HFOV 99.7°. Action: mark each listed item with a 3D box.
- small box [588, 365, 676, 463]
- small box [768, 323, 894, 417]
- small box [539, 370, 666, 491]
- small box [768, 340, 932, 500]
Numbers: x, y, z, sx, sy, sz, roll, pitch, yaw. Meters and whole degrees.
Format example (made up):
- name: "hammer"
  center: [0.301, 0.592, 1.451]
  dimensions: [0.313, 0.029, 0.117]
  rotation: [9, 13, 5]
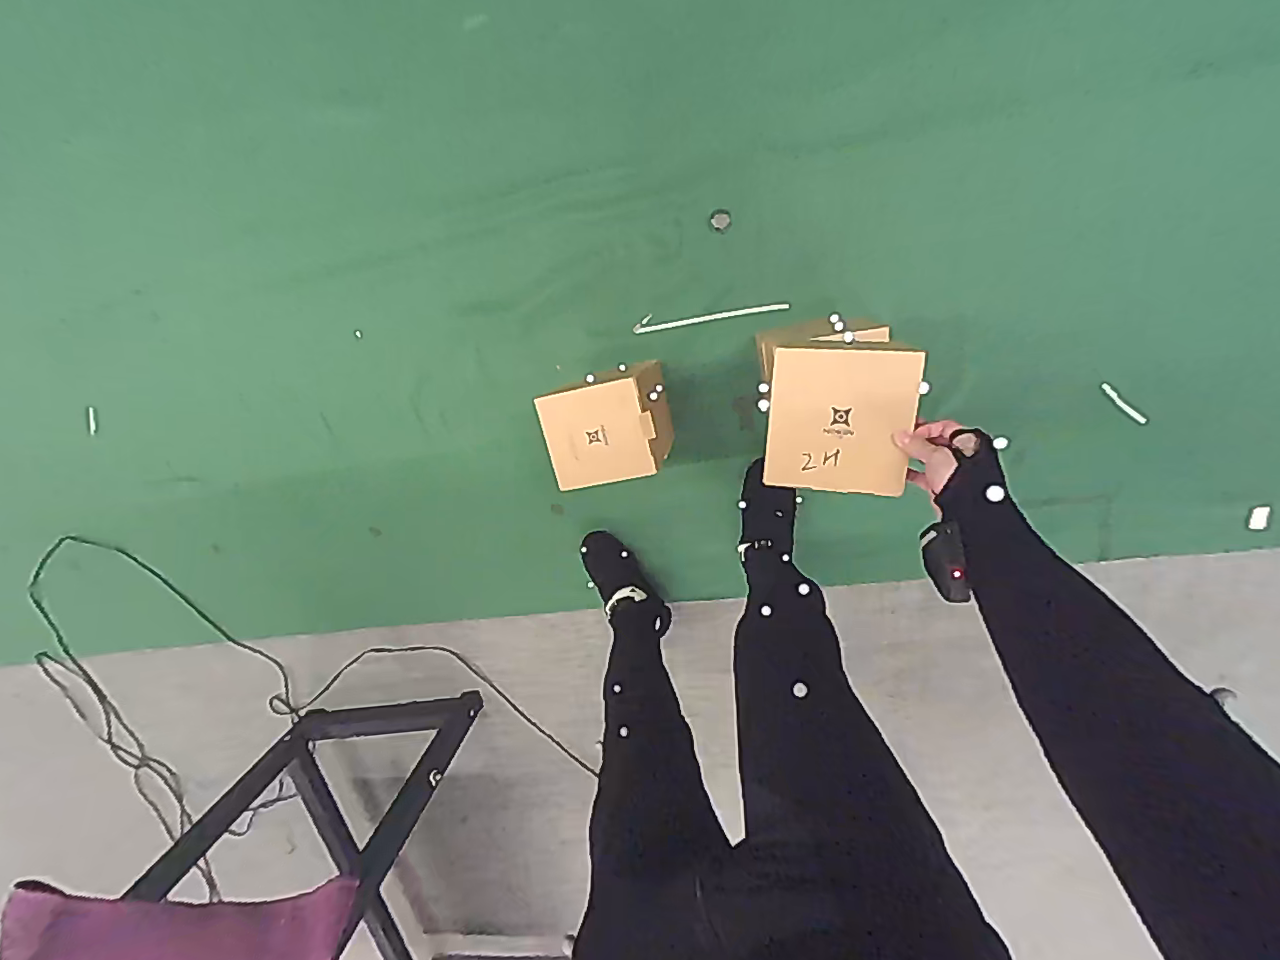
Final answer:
- name: "small box"
  center: [-0.026, -0.130, 1.118]
  dimensions: [0.168, 0.176, 0.179]
  rotation: [-10, 106, 13]
- name: "small box"
  center: [0.303, -0.152, 0.882]
  dimensions: [0.168, 0.176, 0.179]
  rotation: [-6, 109, 10]
- name: "small box"
  center: [-0.054, -0.094, 0.961]
  dimensions: [0.179, 0.176, 0.168]
  rotation: [-10, 105, 13]
- name: "small box"
  center: [0.263, -0.090, 0.714]
  dimensions: [0.168, 0.176, 0.179]
  rotation: [6, 109, 15]
